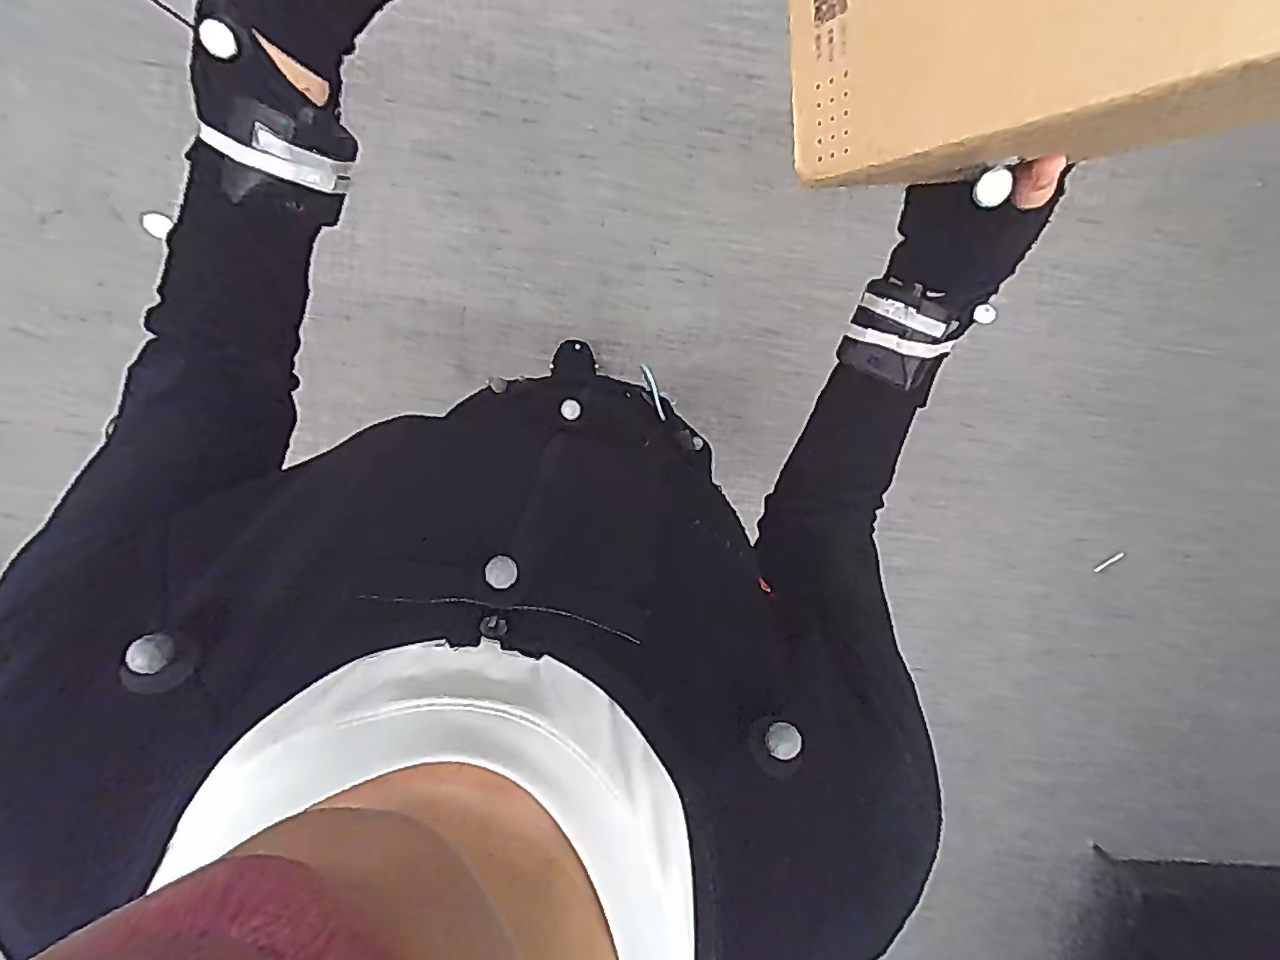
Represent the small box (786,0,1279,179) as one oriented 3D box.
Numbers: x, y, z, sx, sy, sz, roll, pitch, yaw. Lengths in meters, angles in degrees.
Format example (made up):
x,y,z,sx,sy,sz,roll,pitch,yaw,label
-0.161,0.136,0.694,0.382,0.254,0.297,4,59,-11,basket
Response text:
x,y,z,sx,sy,sz,roll,pitch,yaw,label
0.171,-0.211,0.182,0.179,0.176,0.168,-20,114,-29,small box
